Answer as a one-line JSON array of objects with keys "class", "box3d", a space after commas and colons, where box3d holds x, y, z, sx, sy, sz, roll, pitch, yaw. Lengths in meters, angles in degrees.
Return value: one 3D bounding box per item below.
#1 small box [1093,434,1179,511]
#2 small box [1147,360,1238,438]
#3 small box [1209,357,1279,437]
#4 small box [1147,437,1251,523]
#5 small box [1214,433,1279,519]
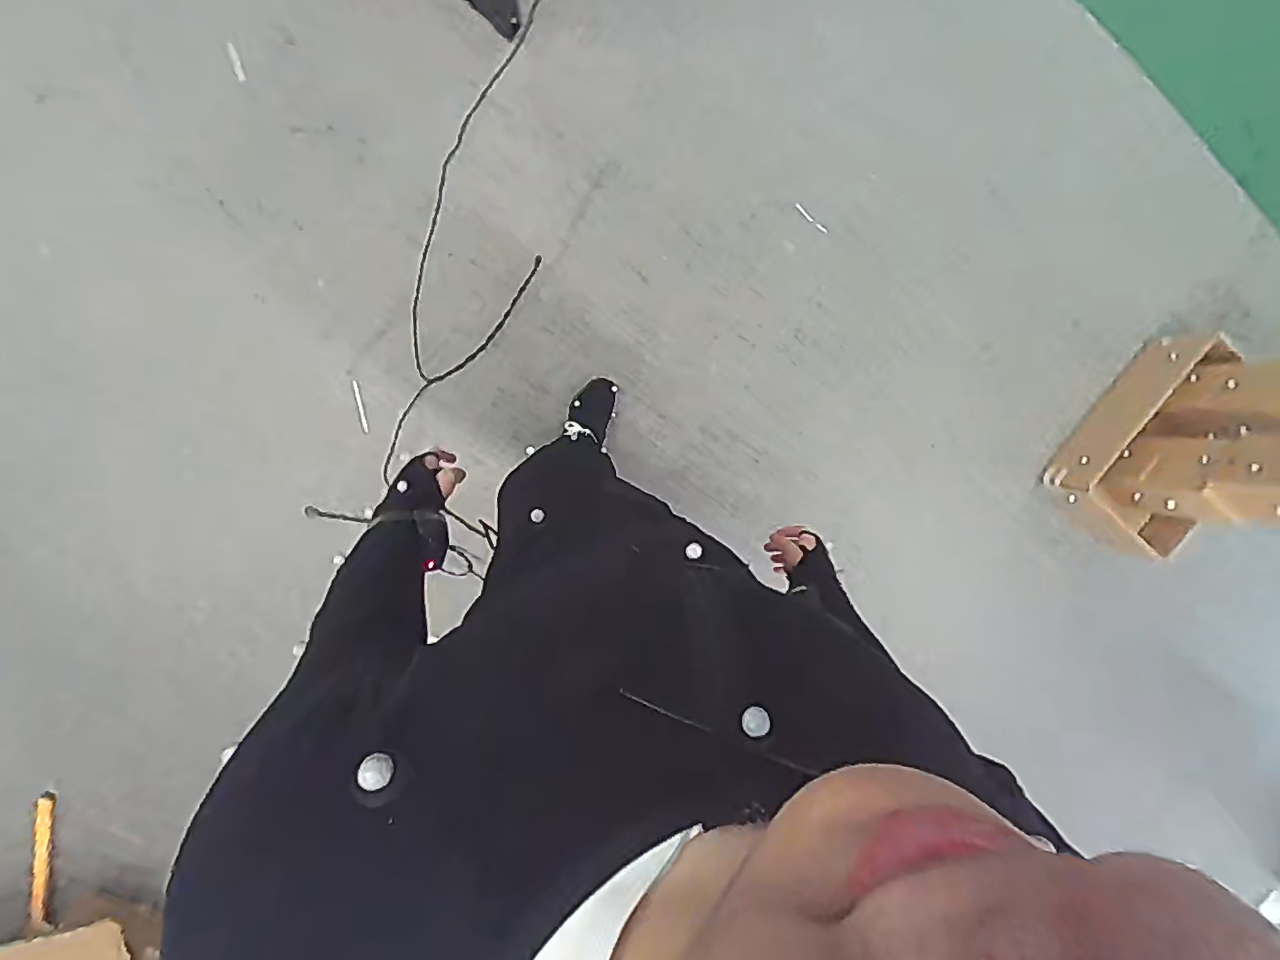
[{"class": "small box", "box3d": [1.582, -0.027, 1.685, 0.179, 0.176, 0.168, 39, 91, -11]}, {"class": "small box", "box3d": [1.755, -0.246, 1.680, 0.179, 0.176, 0.168, 37, 92, -9]}, {"class": "small box", "box3d": [1.771, -0.226, 1.515, 0.168, 0.176, 0.179, 36, 93, -12]}, {"class": "small box", "box3d": [1.604, -0.008, 1.522, 0.168, 0.176, 0.179, 35, 92, -10]}, {"class": "small box", "box3d": [1.629, -0.007, 1.361, 0.179, 0.176, 0.168, 40, 91, -10]}]
